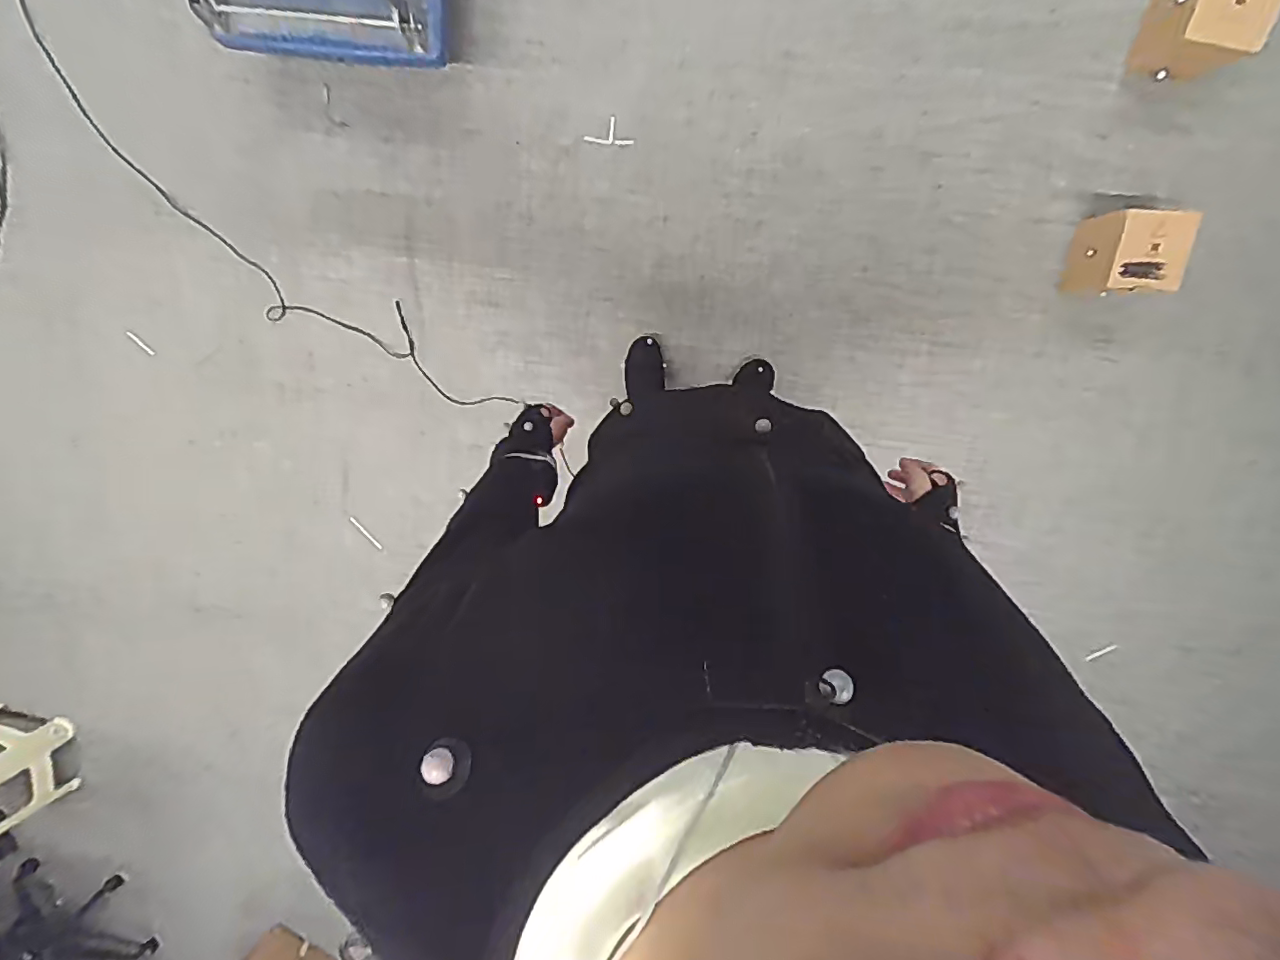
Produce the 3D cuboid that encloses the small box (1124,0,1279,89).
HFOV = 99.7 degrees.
[{"bbox_3d":[1.249,-1.021,1.205,0.168,0.176,0.179,13,106,1],"label":"small box"}]
